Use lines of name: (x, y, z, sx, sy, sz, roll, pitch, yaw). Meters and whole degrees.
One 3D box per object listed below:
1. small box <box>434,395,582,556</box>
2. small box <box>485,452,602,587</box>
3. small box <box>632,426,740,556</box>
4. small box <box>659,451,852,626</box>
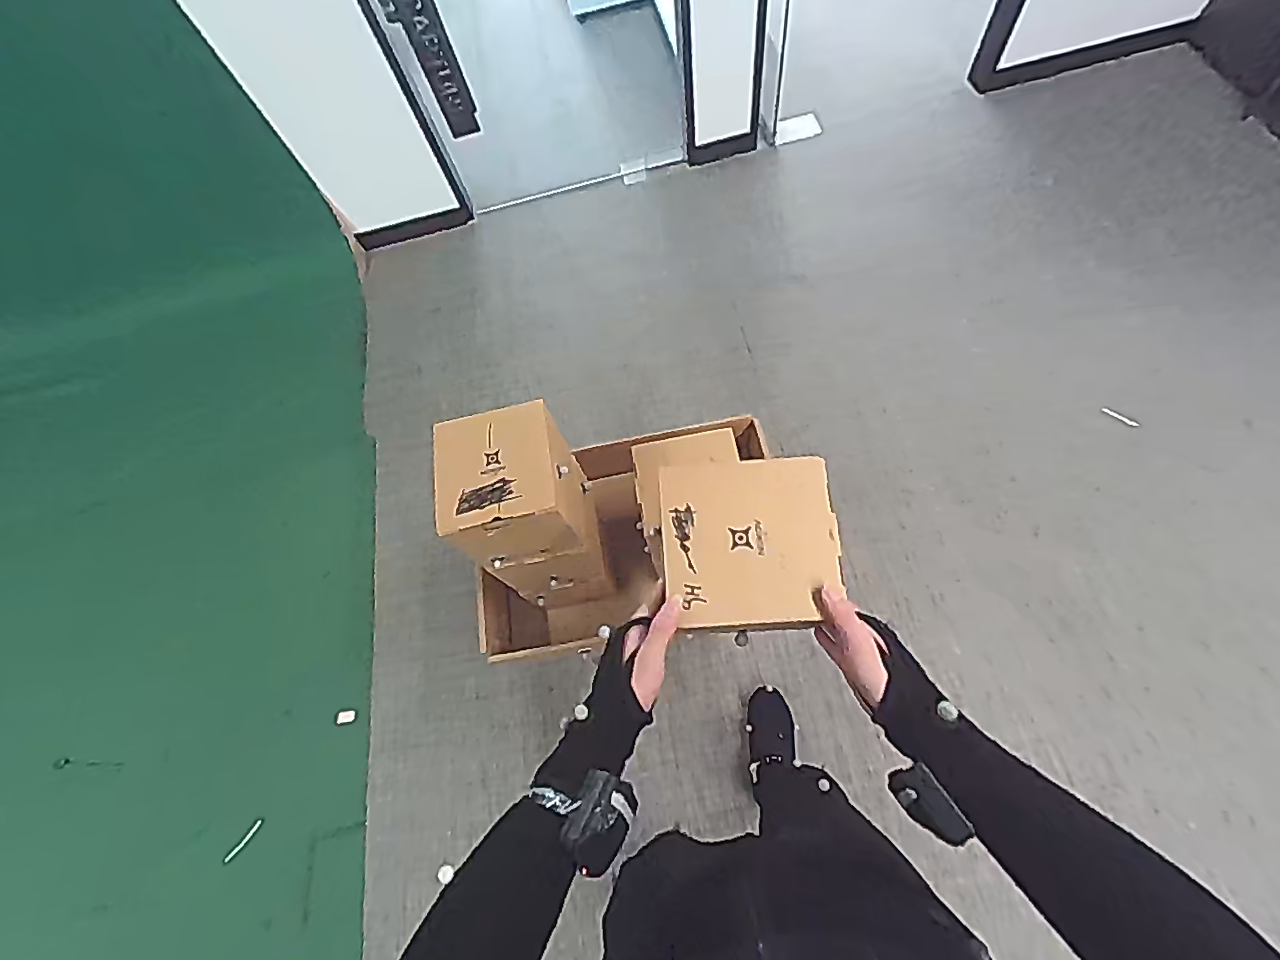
small box: (-0.190, 0.004, 0.805, 0.168, 0.176, 0.179, -12, 65, 1)
small box: (-0.167, 0.075, 0.952, 0.168, 0.176, 0.179, -11, 66, 2)
small box: (0.090, 0.027, 0.944, 0.179, 0.176, 0.168, -9, 67, 2)
small box: (0.113, 0.074, 0.610, 0.179, 0.176, 0.168, -3, 71, 1)
